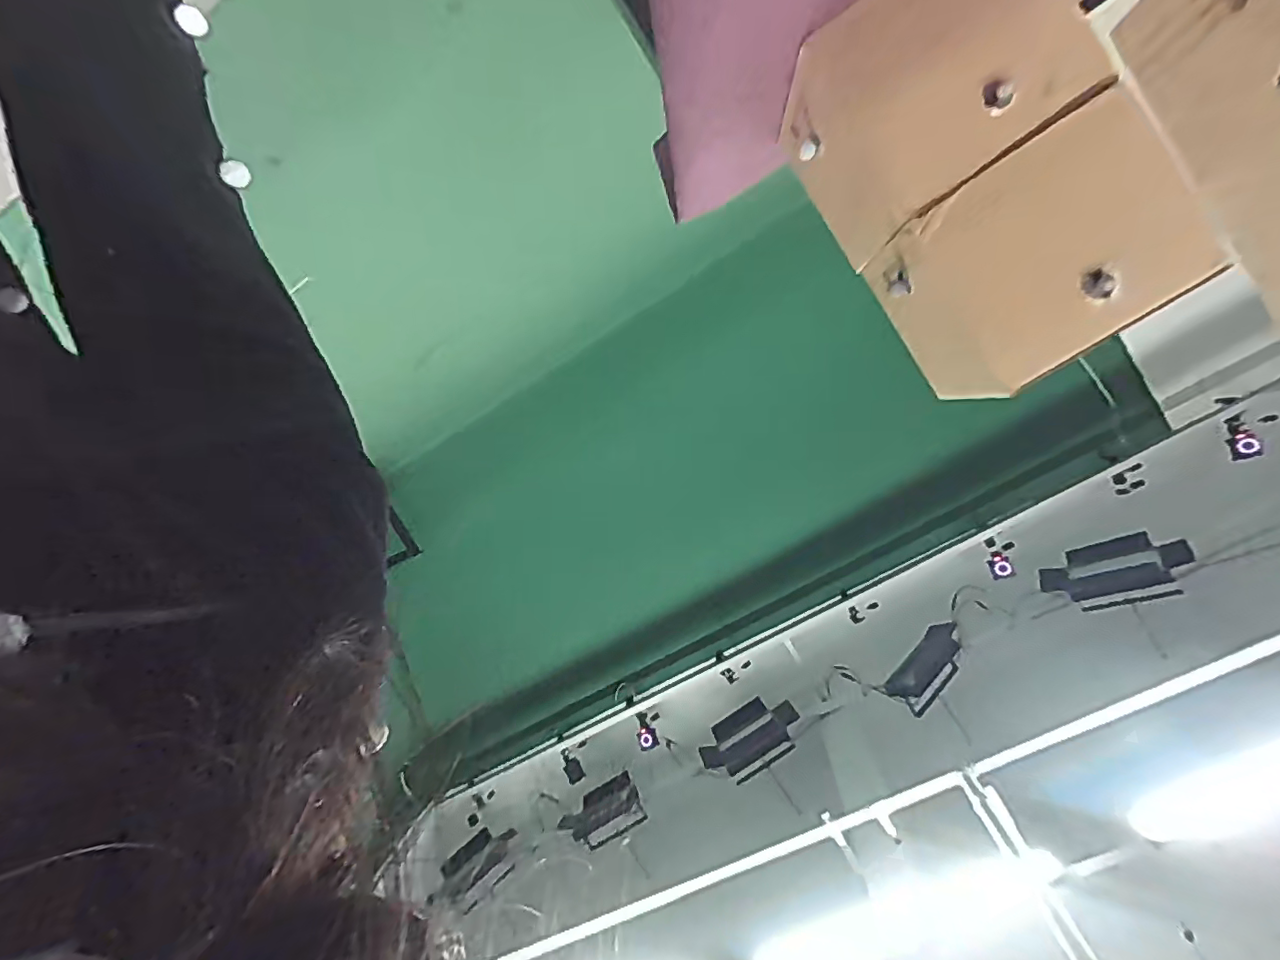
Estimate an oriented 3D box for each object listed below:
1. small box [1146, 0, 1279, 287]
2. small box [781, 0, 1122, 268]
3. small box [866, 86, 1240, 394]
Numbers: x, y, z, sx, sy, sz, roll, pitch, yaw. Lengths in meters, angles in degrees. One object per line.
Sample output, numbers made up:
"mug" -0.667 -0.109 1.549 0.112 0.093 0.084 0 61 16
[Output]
"small box" 0.287 -0.144 0.117 0.179 0.176 0.168 -31 -178 20
"small box" 0.256 -0.334 0.492 0.179 0.176 0.168 -32 -179 10
"small box" 0.343 -0.197 0.491 0.179 0.176 0.168 -32 -179 12
